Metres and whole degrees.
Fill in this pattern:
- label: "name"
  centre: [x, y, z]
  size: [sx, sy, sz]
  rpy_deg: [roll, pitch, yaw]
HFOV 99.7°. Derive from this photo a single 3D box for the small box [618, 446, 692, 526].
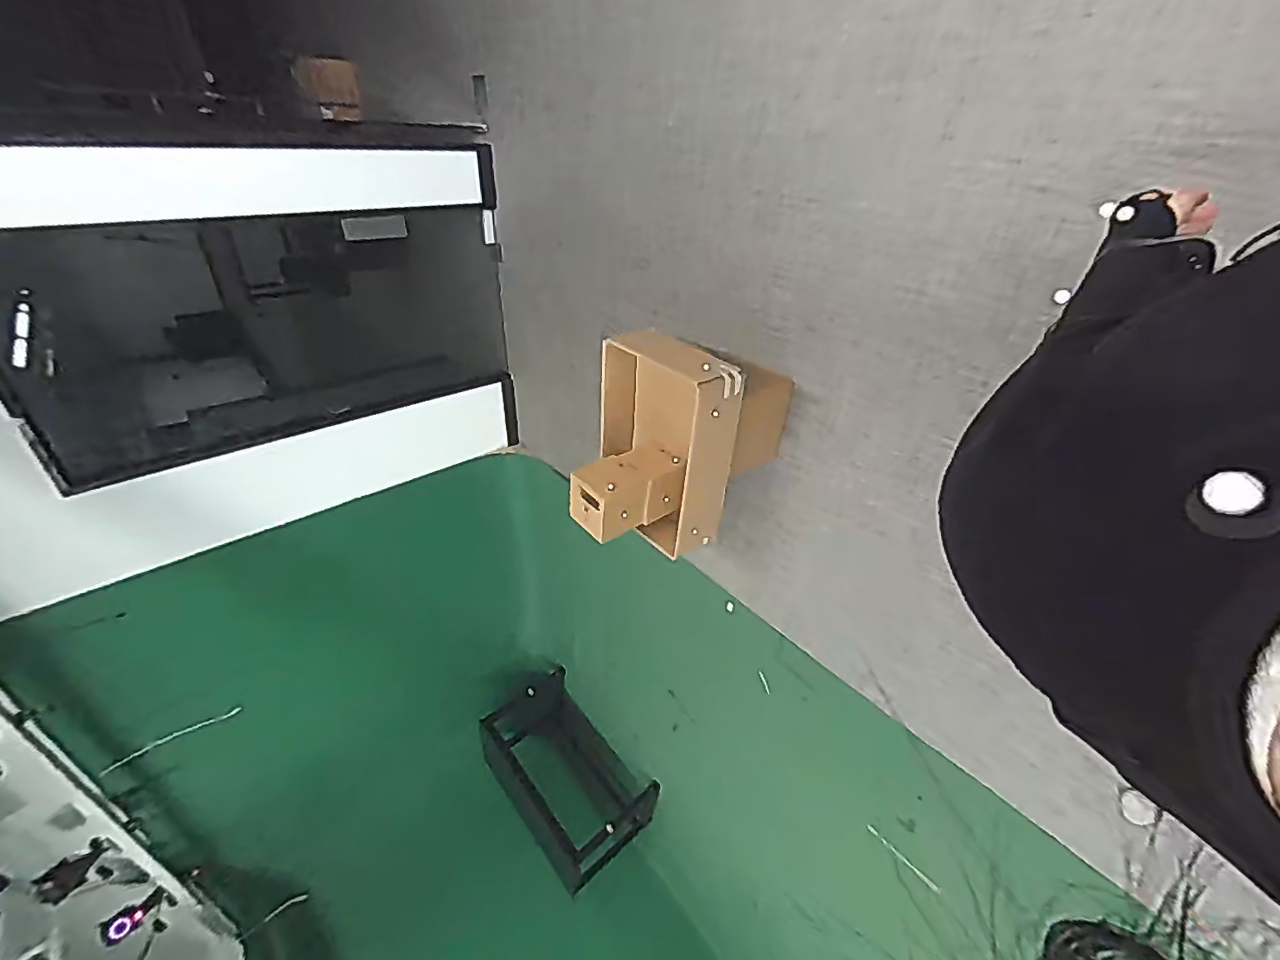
- label: "small box"
  centre: [0.049, 0.012, 1.744]
  size: [0.168, 0.176, 0.179]
  rpy_deg: [36, 136, 36]
